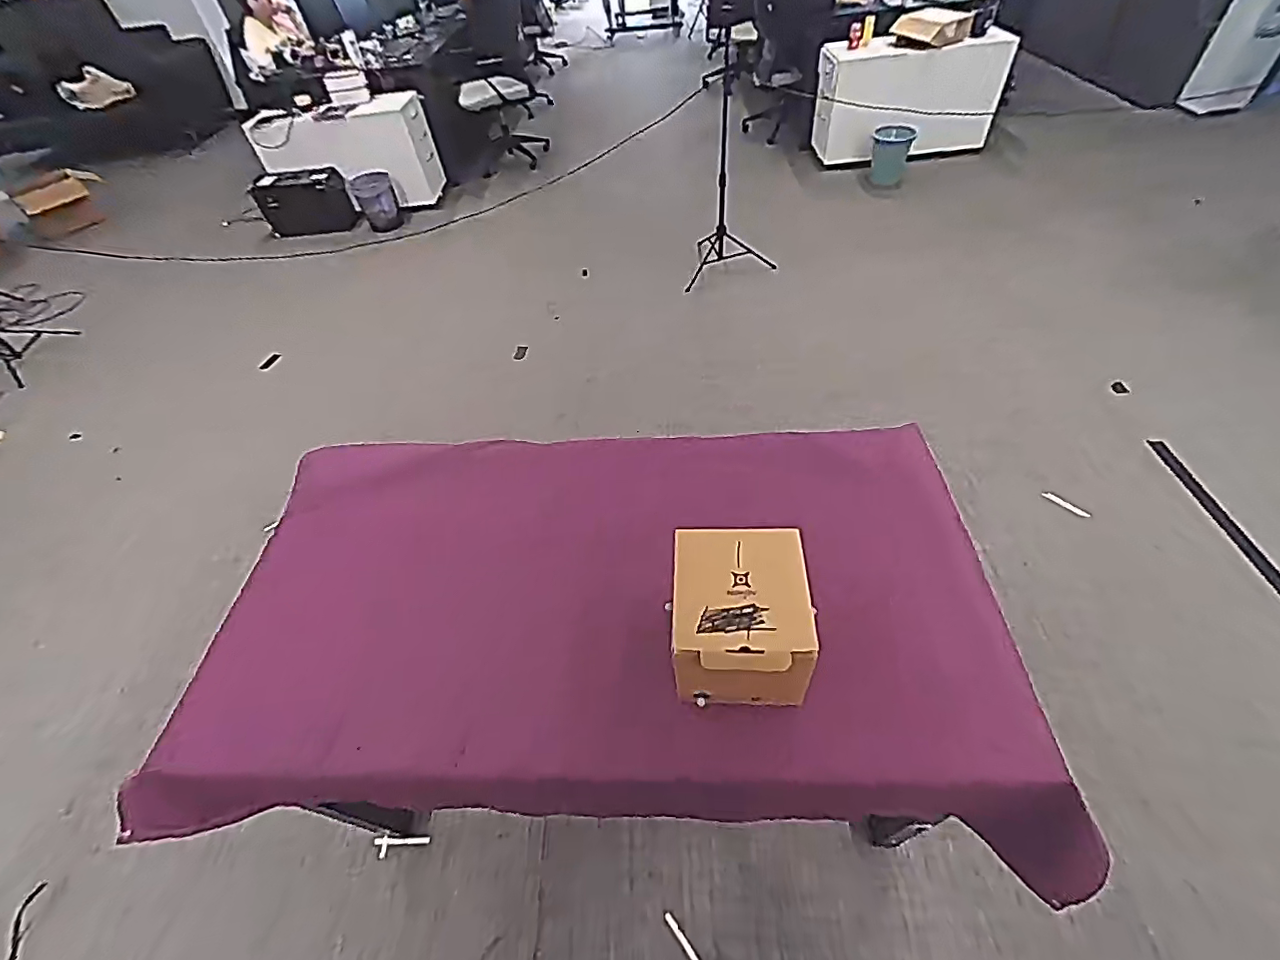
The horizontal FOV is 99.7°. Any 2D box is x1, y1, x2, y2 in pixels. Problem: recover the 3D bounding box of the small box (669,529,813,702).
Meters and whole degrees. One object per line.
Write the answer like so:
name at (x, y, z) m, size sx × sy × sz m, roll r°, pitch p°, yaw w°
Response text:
small box at (0.128, 0.185, 0.727) m, size 0.168 × 0.176 × 0.179 m, roll -1°, pitch 48°, yaw 6°
